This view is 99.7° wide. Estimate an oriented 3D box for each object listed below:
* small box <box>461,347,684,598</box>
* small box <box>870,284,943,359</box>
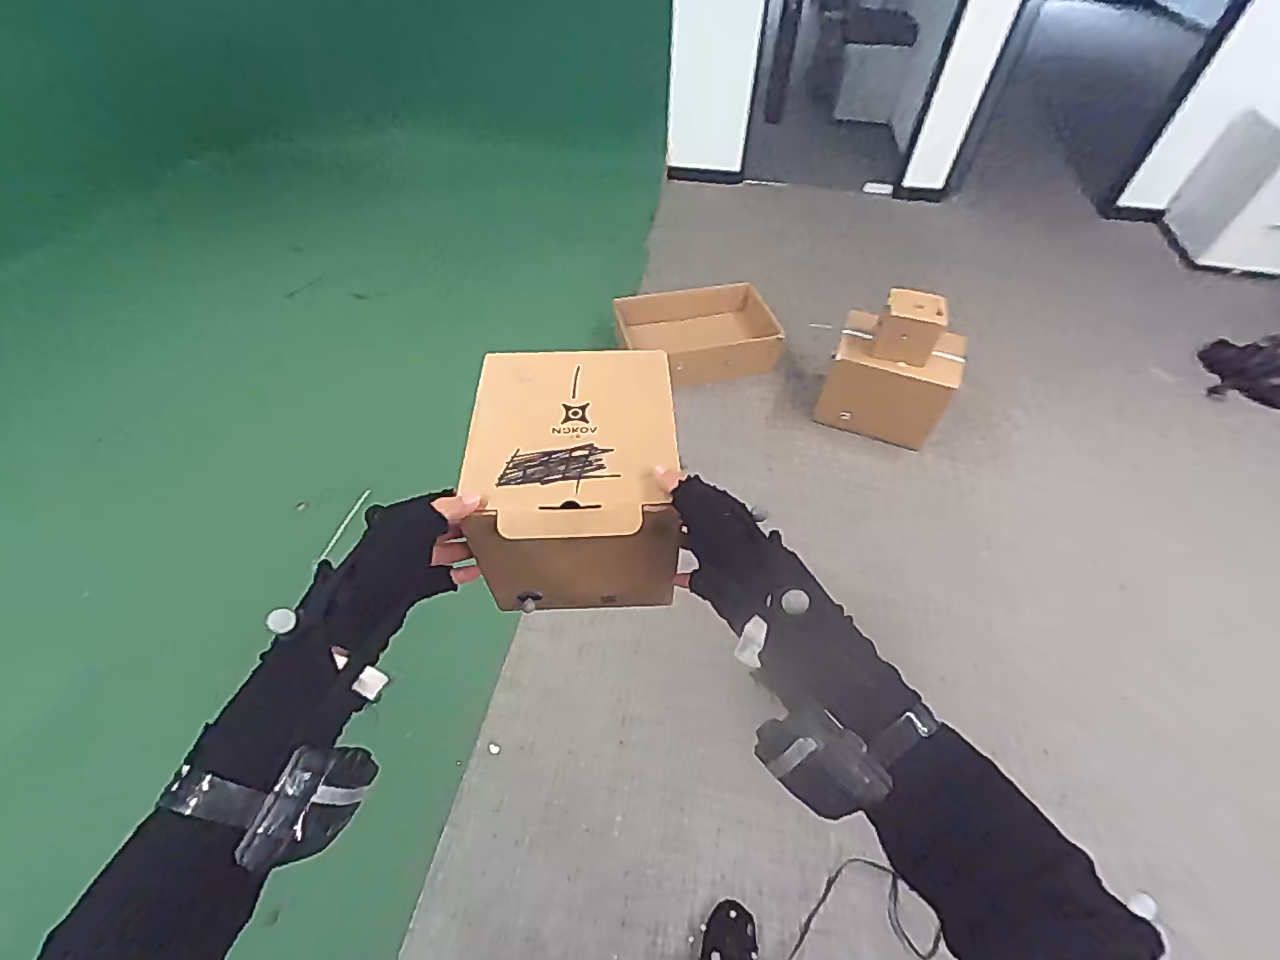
[{"bbox_3d":[-0.050,0.000,0.501,0.168,0.176,0.179,-1,52,-2],"label":"small box"},{"bbox_3d":[0.882,-0.525,1.801,0.179,0.176,0.168,14,53,11],"label":"small box"}]
